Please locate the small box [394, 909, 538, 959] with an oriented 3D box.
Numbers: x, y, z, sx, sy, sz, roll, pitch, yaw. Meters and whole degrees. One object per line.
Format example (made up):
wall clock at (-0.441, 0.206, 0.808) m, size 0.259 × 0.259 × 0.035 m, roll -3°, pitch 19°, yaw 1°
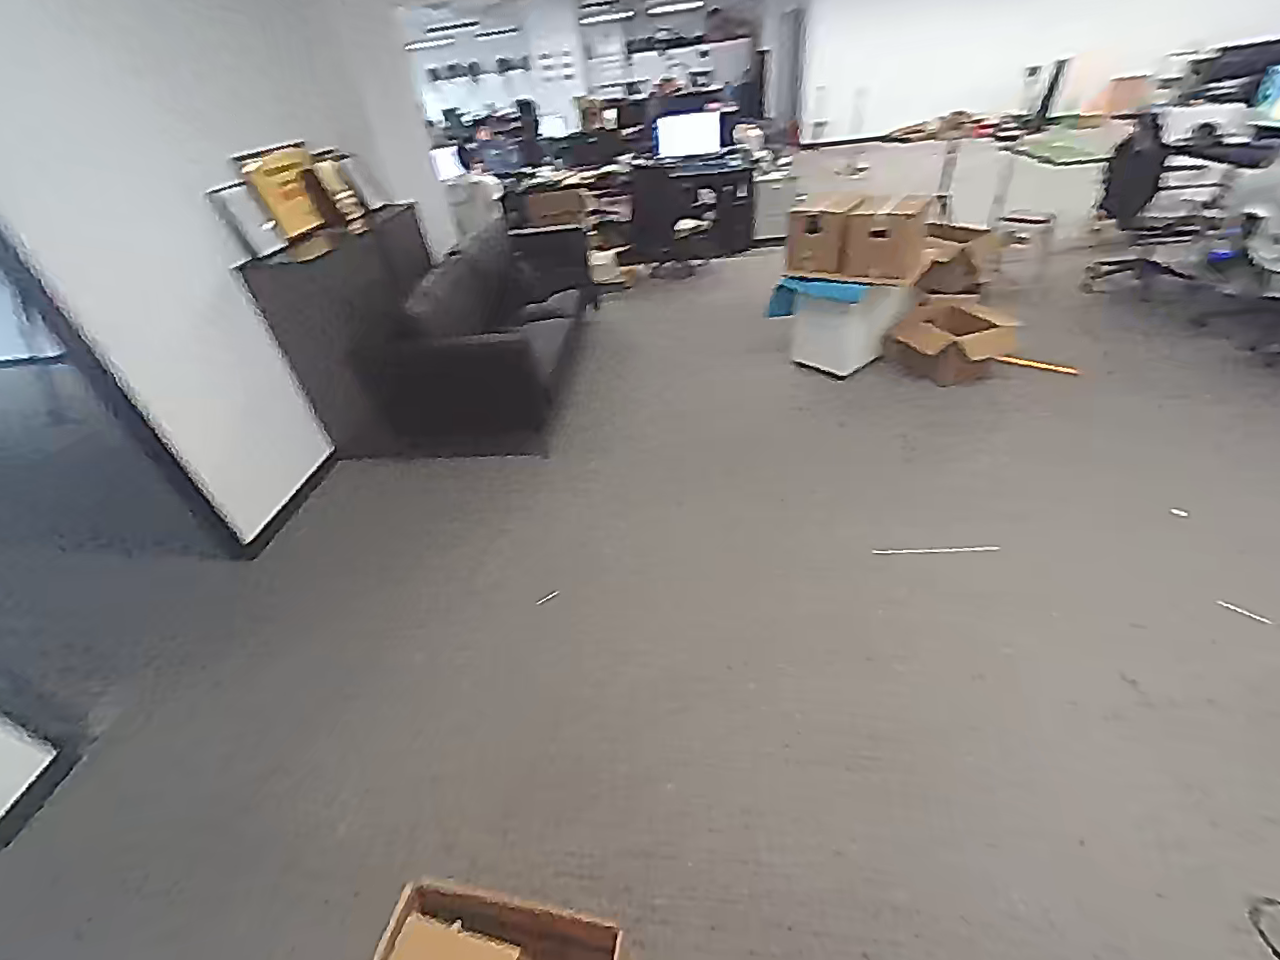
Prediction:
small box at (-0.251, 0.739, 0.749) m, size 0.179 × 0.176 × 0.168 m, roll 4°, pitch 41°, yaw 16°
